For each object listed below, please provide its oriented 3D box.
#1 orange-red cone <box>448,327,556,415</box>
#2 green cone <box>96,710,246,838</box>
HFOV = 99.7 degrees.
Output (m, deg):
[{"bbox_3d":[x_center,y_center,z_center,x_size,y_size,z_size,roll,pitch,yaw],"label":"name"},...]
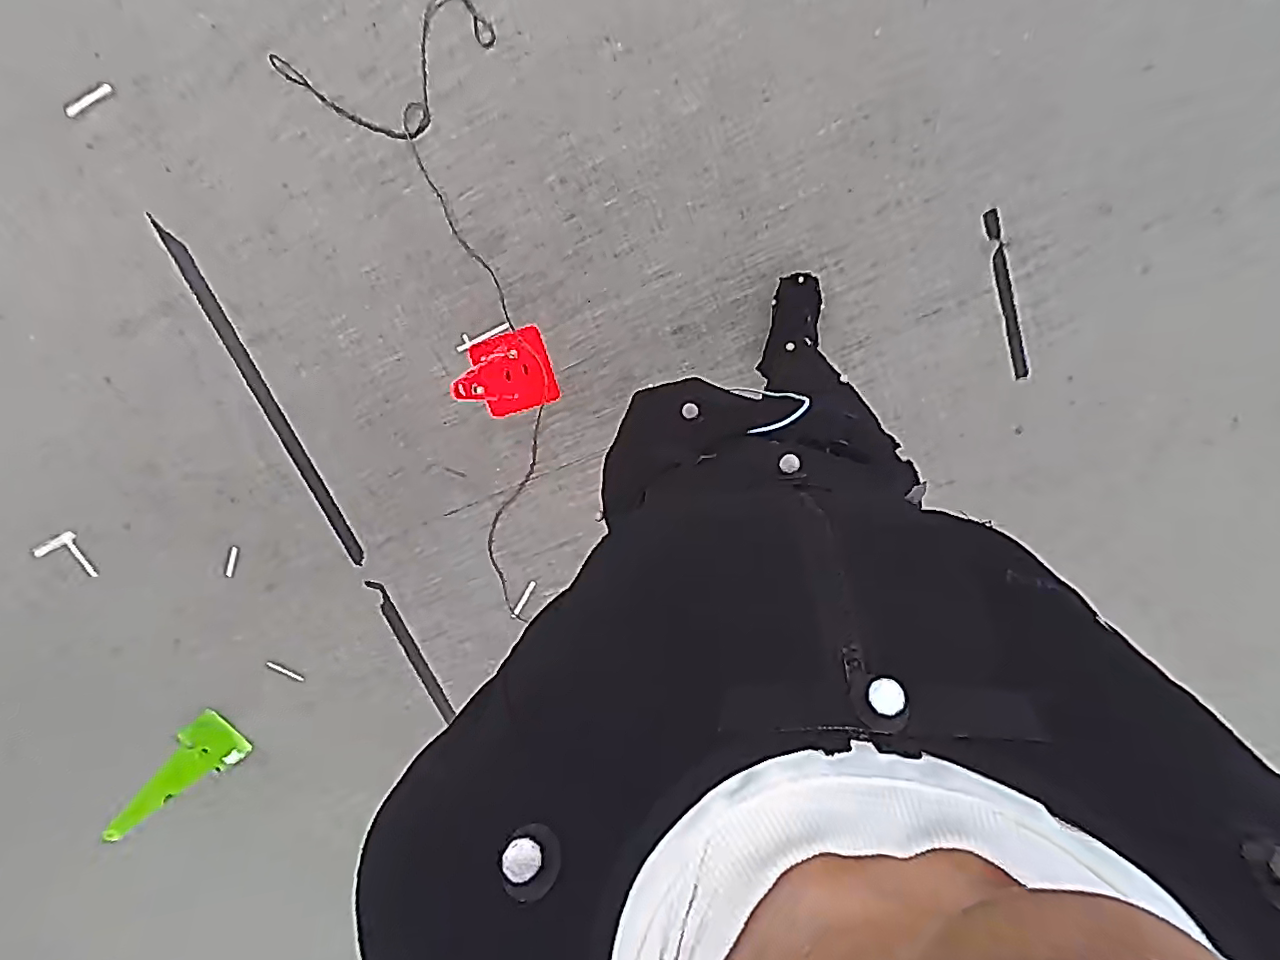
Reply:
[{"bbox_3d":[-0.343,-0.228,1.229,0.198,0.360,0.199,-13,106,9],"label":"orange-red cone"},{"bbox_3d":[-1.480,0.938,1.677,0.200,0.368,0.202,-37,99,13],"label":"green cone"}]
